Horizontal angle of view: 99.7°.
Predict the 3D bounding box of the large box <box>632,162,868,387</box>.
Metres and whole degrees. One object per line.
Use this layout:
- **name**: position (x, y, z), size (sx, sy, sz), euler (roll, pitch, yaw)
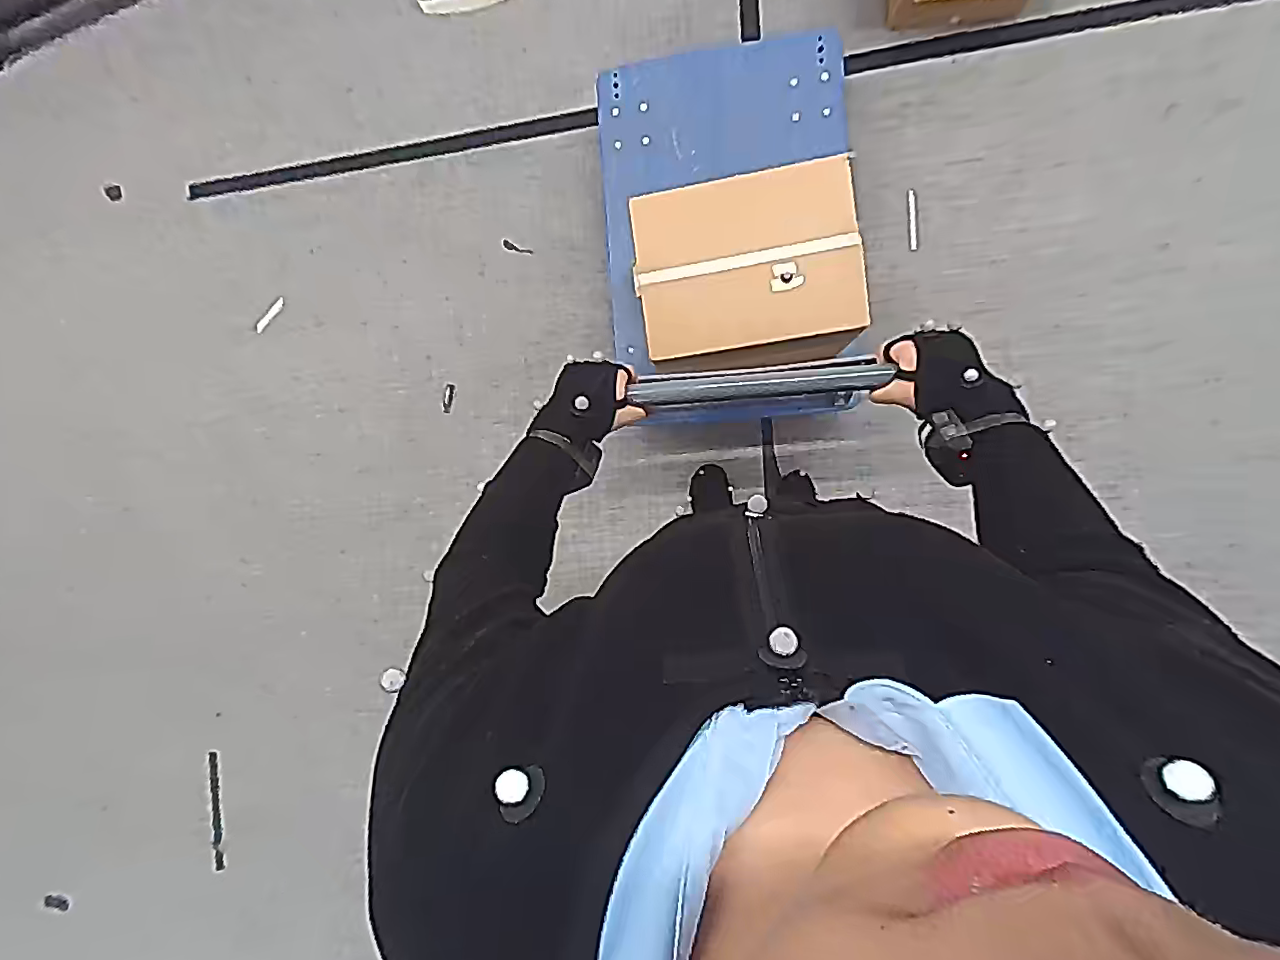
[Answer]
- **large box**: position (0.217, -0.401, 1.153), size (0.408, 0.320, 0.320), euler (-8, 91, 7)
